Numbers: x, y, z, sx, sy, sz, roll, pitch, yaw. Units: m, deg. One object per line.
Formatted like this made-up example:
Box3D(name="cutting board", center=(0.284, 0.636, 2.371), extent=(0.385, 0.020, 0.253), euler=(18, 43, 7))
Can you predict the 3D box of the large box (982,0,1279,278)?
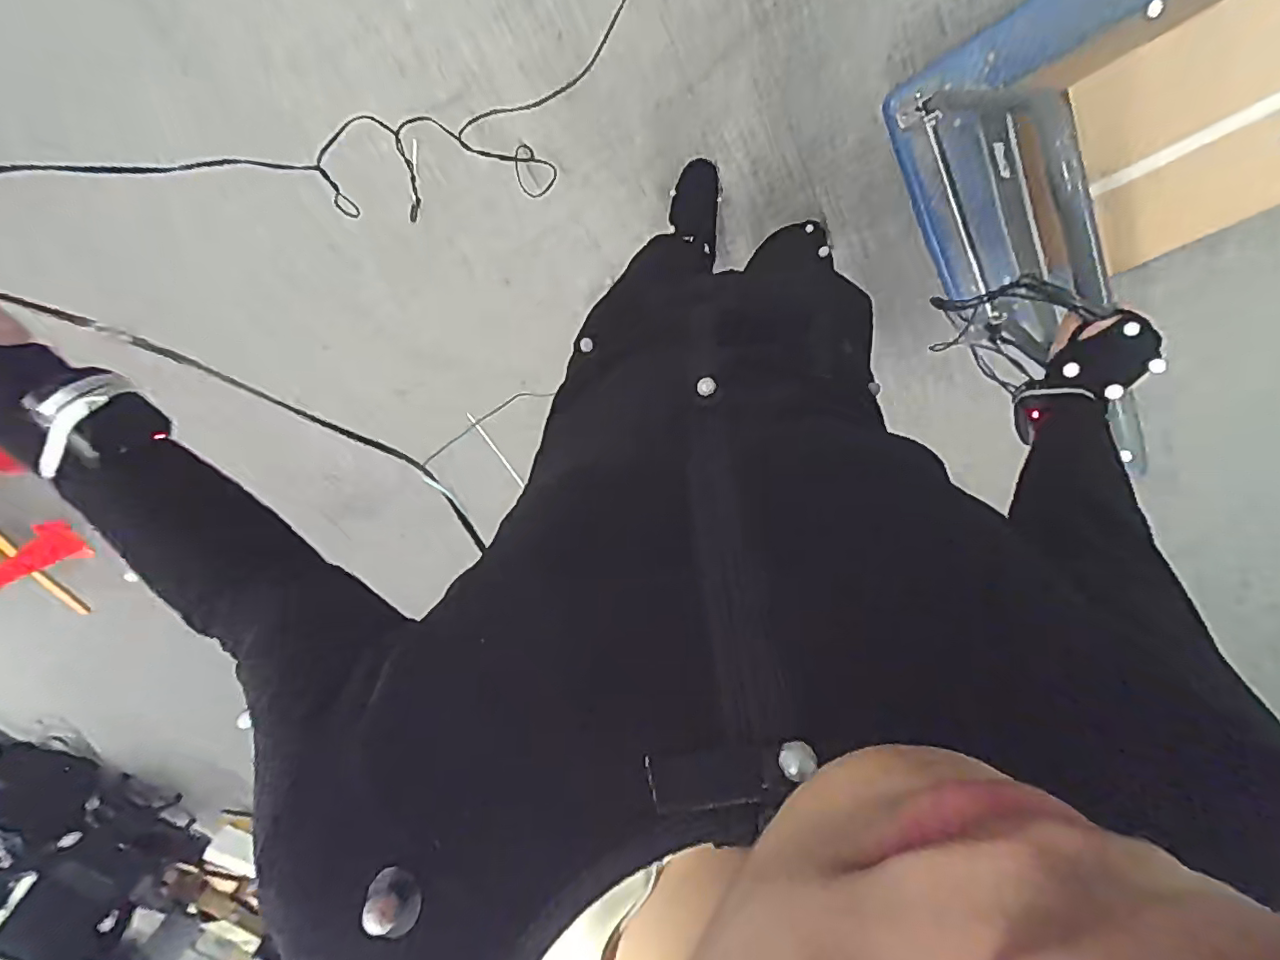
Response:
Box3D(name="large box", center=(0.879, -0.602, 0.901), extent=(0.408, 0.320, 0.320), euler=(-24, 116, 21))
